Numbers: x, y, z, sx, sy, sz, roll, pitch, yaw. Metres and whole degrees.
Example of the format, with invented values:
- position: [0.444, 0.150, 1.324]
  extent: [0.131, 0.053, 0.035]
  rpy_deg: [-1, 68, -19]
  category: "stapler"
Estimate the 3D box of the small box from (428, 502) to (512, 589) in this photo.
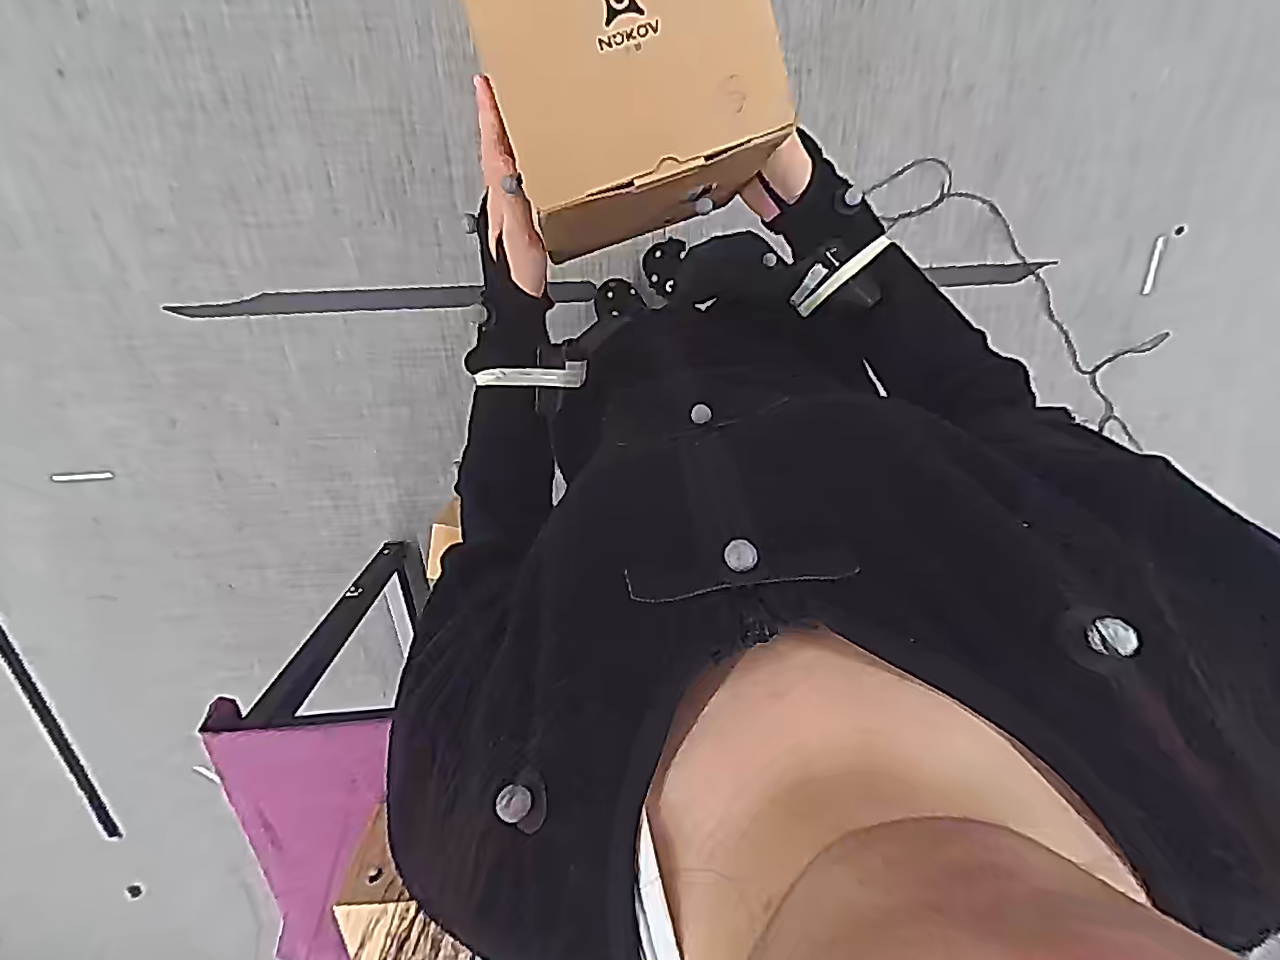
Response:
- position: [-0.462, 0.174, 1.484]
  extent: [0.179, 0.176, 0.168]
  rpy_deg: [12, 109, -9]
  category: "small box"

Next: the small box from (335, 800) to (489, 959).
- position: [-0.362, 0.663, 0.892]
  extent: [0.179, 0.176, 0.168]
  rpy_deg: [-3, 112, -3]
  category: "small box"
